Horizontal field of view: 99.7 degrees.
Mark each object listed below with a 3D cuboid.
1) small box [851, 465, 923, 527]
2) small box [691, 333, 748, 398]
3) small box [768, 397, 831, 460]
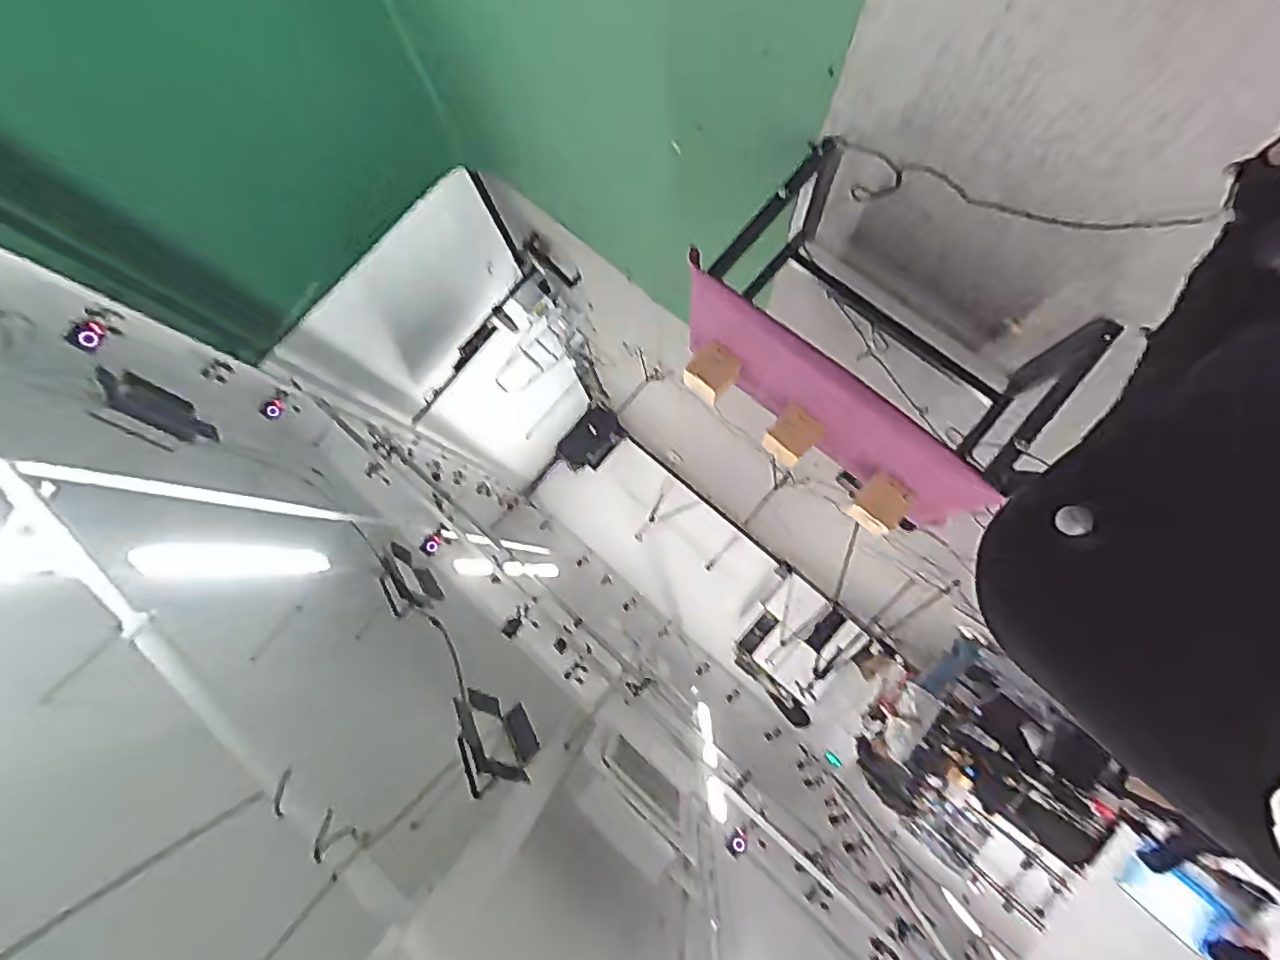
[{"bbox_3d":[0.958,0.061,2.090,0.168,0.176,0.179,41,177,12],"label":"small box"},{"bbox_3d":[0.327,-0.475,2.236,0.168,0.176,0.179,40,175,9],"label":"small box"},{"bbox_3d":[0.642,-0.209,2.175,0.168,0.176,0.179,41,176,11],"label":"small box"}]
